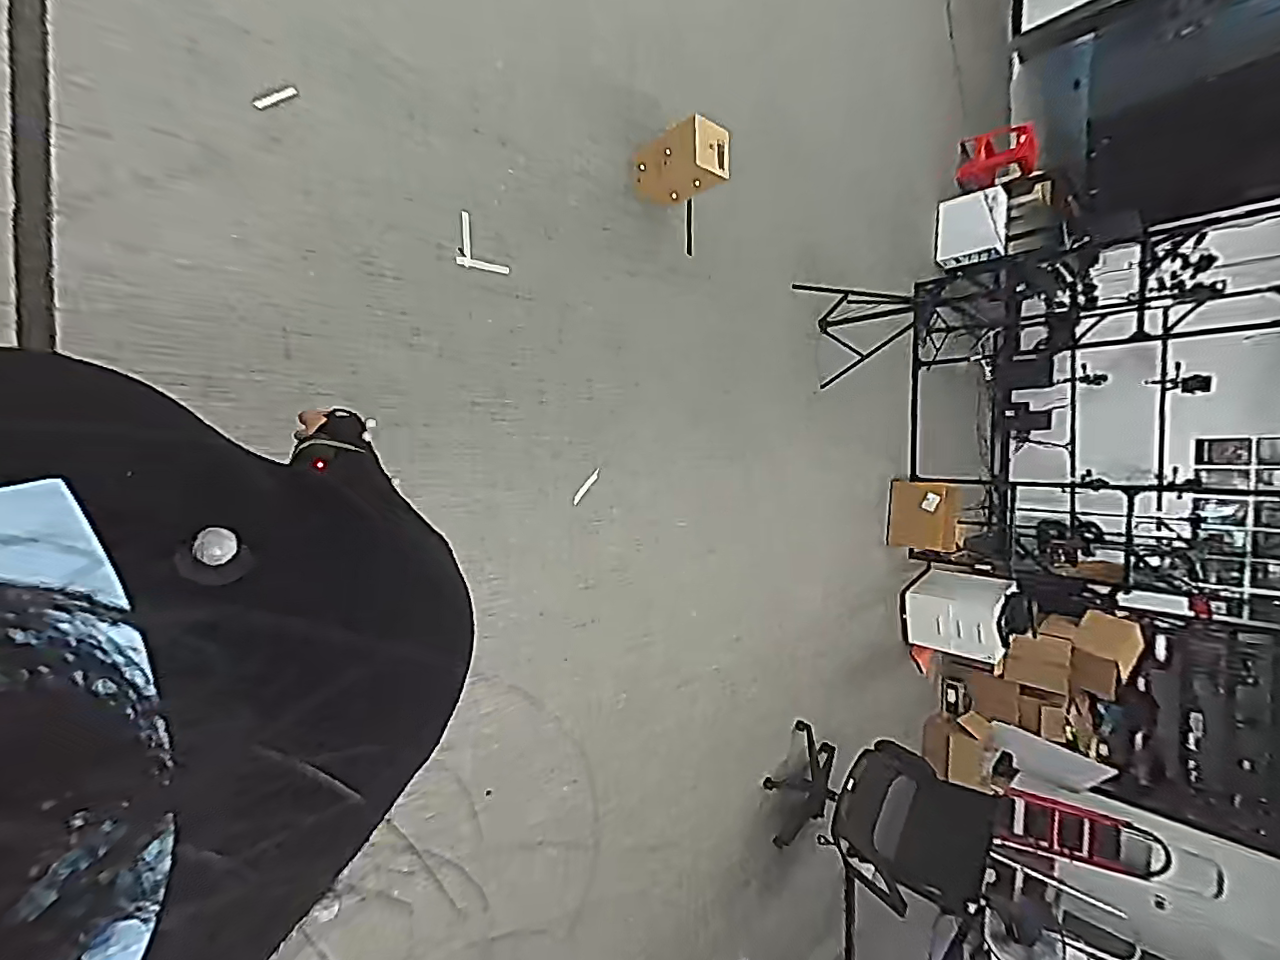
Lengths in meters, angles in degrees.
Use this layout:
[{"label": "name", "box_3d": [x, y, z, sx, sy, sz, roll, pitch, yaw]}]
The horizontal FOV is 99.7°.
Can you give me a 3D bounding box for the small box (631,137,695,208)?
[{"label": "small box", "box_3d": [0.088, -1.149, 2.037, 0.179, 0.176, 0.168, -10, 99, -43]}]
